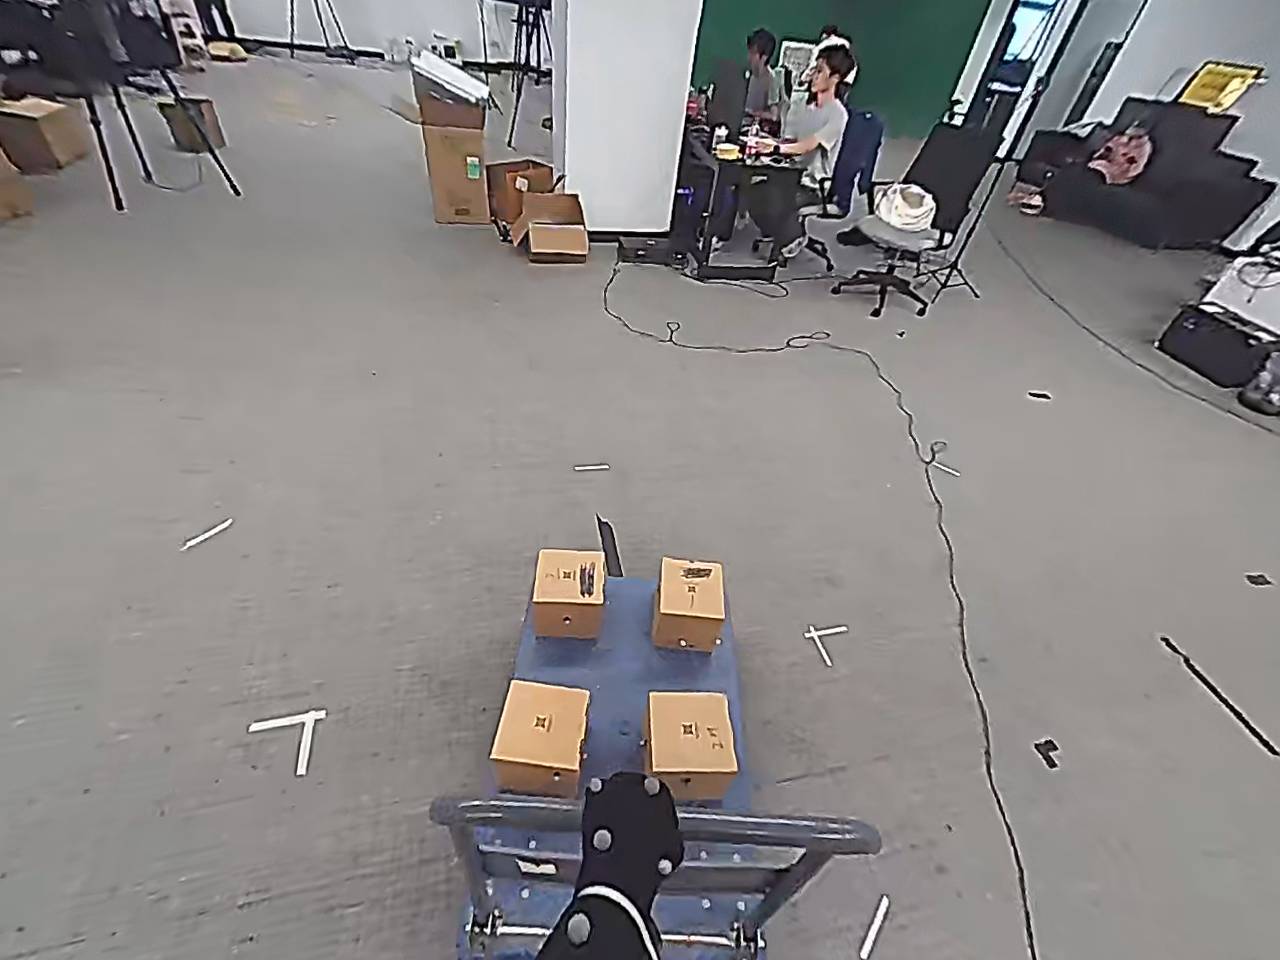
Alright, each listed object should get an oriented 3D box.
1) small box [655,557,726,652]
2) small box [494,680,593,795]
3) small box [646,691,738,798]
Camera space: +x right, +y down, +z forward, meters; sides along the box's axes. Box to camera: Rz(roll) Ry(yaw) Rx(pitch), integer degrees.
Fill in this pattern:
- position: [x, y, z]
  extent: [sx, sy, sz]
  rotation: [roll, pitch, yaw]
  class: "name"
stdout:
- position: [0.131, 0.336, 1.458]
  extent: [0.168, 0.176, 0.179]
  rotation: [6, 44, -1]
  class: "small box"
- position: [-0.204, 0.559, 1.170]
  extent: [0.179, 0.176, 0.168]
  rotation: [8, 42, -1]
  class: "small box"
- position: [0.105, 0.583, 1.187]
  extent: [0.179, 0.176, 0.168]
  rotation: [3, 43, -5]
  class: "small box"
